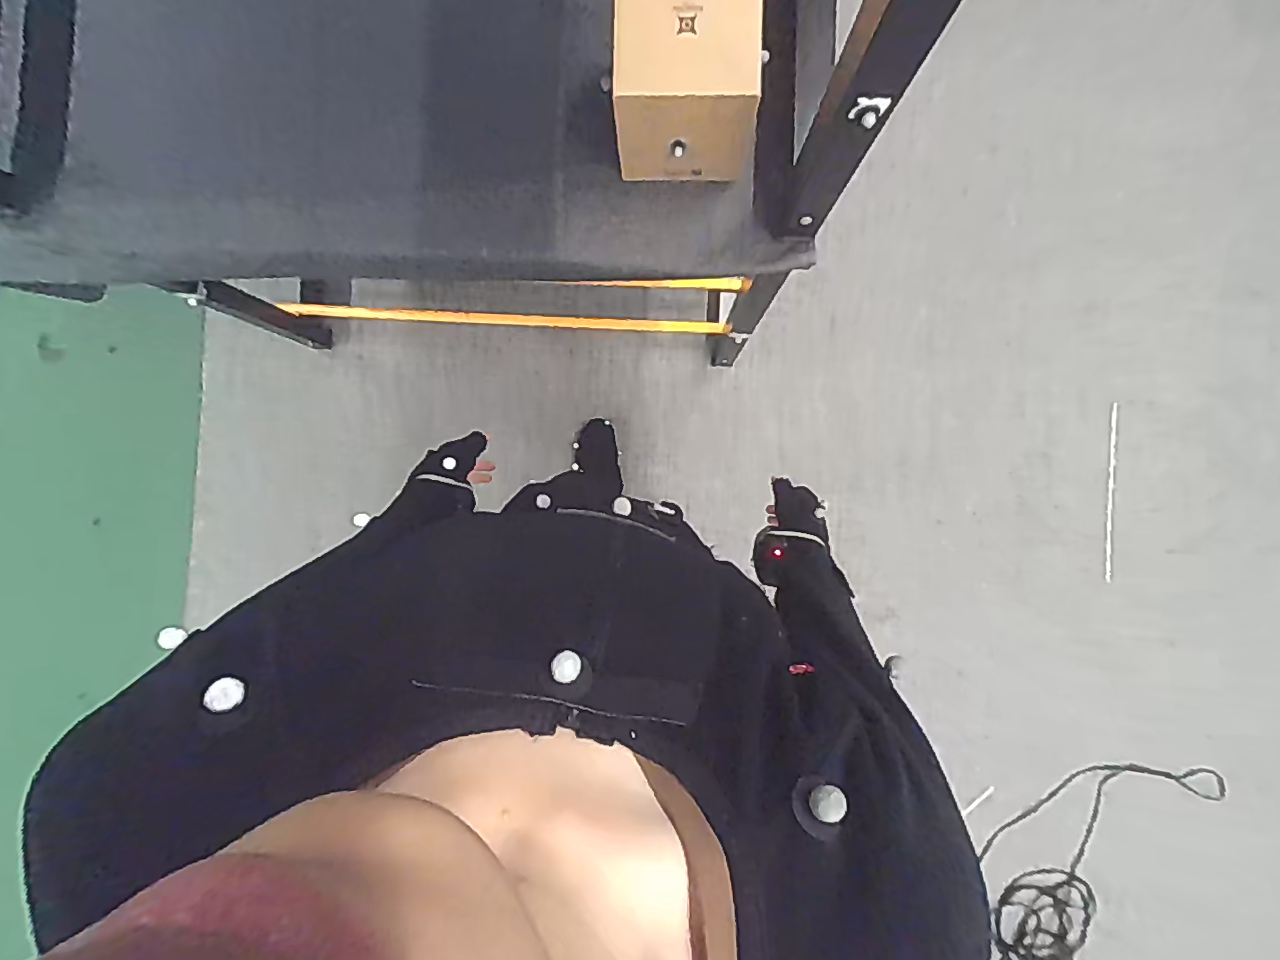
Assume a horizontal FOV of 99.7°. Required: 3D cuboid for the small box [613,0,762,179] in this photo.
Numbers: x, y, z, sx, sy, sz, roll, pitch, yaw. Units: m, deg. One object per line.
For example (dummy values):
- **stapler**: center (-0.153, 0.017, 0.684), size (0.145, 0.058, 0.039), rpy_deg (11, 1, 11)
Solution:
- **small box**: center (0.058, -0.508, 0.683), size (0.168, 0.176, 0.179), rpy_deg (1, 89, 2)
